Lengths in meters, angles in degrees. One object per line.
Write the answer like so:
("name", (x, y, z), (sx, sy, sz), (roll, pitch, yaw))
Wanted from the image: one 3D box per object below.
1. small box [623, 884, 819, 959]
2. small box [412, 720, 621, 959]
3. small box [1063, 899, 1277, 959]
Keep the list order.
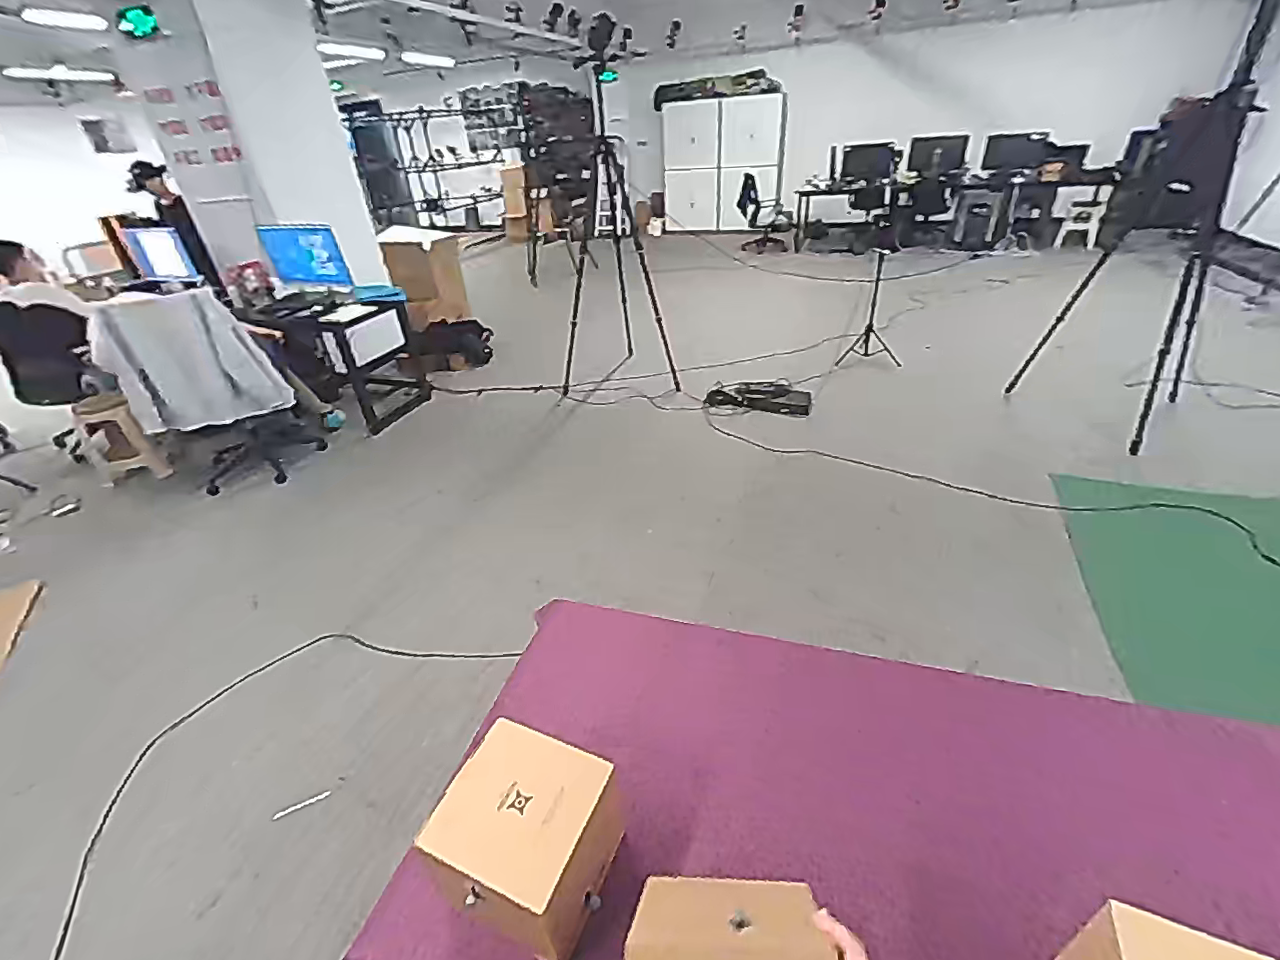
("small box", (0.077, 0.493, 0.488), (0.179, 0.176, 0.168), (-3, 70, 7))
("small box", (-0.138, 0.441, 0.668), (0.179, 0.176, 0.168), (11, 36, 22))
("small box", (0.489, 0.519, 0.462), (0.179, 0.176, 0.168), (10, 36, 22))
